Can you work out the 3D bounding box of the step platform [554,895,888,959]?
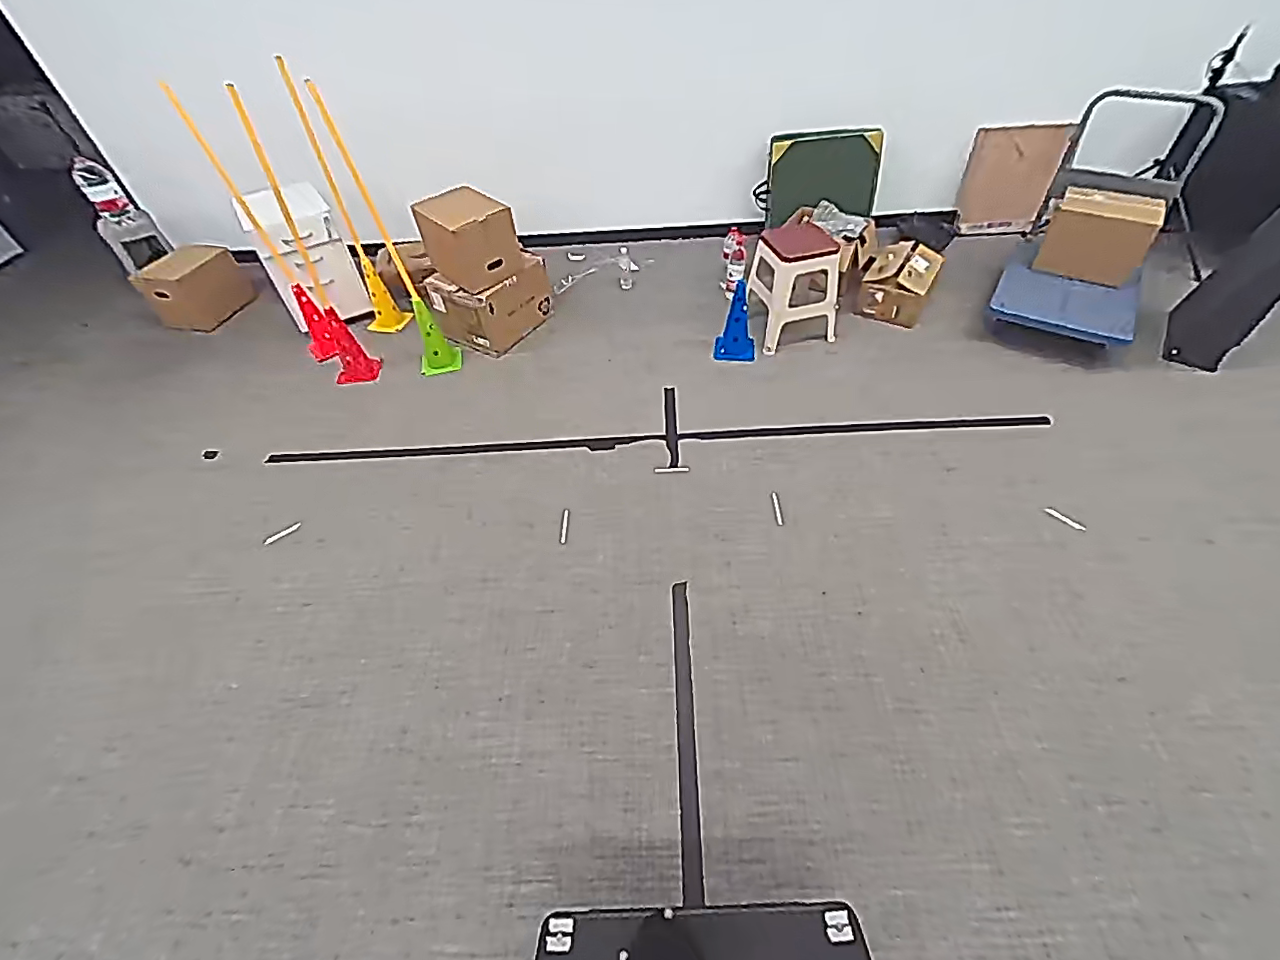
[{"bbox_3d":[0.161,1.037,1.097,0.684,0.204,0.286,-3,48,0],"label":"step platform"}]
